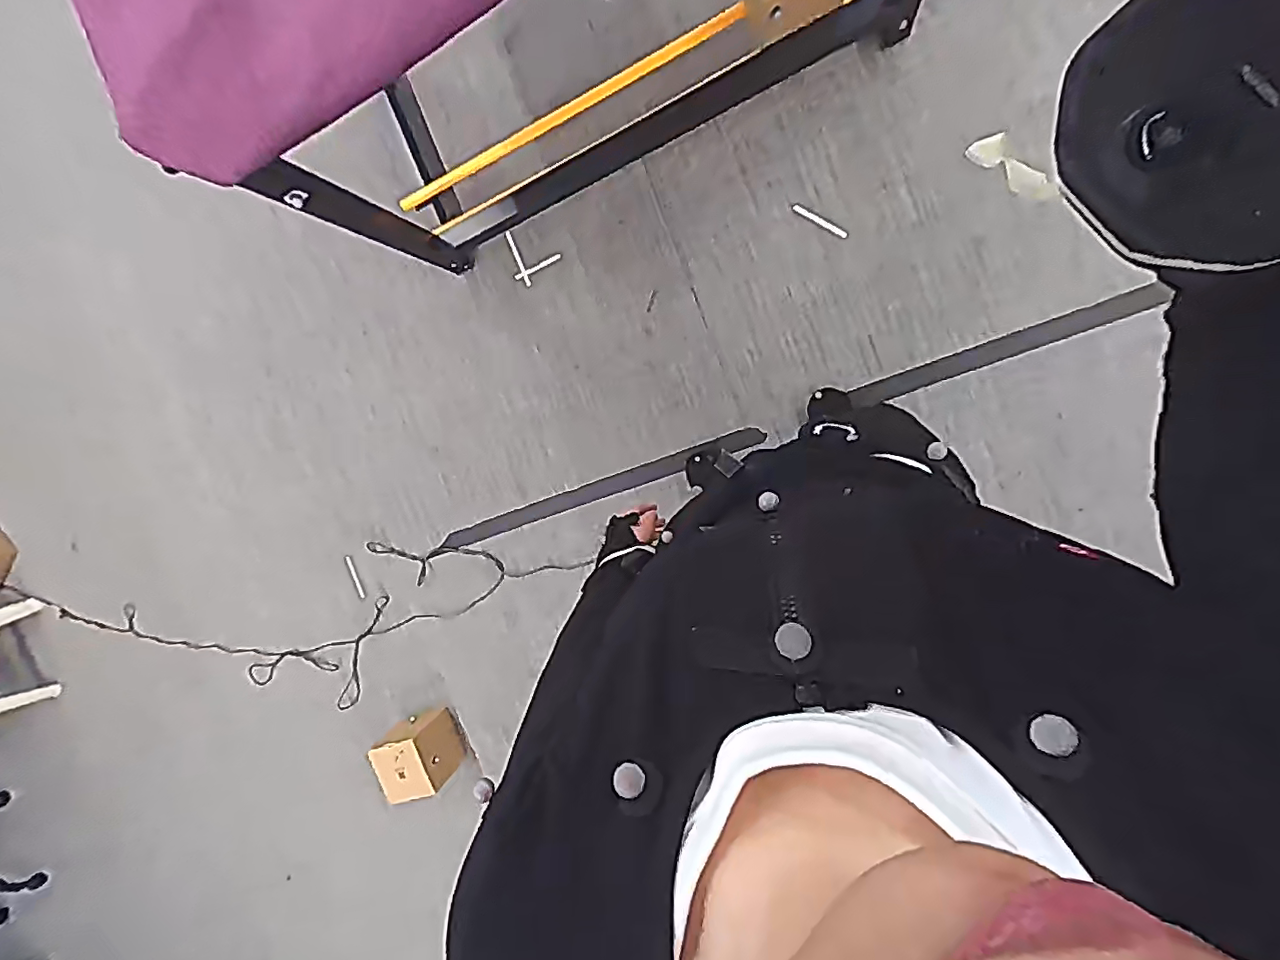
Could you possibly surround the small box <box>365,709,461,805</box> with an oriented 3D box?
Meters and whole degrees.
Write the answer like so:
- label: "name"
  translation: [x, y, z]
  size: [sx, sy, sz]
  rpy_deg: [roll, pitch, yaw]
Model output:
- label: "small box"
  translation: [-0.661, 0.814, 1.600]
  size: [0.168, 0.176, 0.179]
  rpy_deg: [-20, 93, 14]
